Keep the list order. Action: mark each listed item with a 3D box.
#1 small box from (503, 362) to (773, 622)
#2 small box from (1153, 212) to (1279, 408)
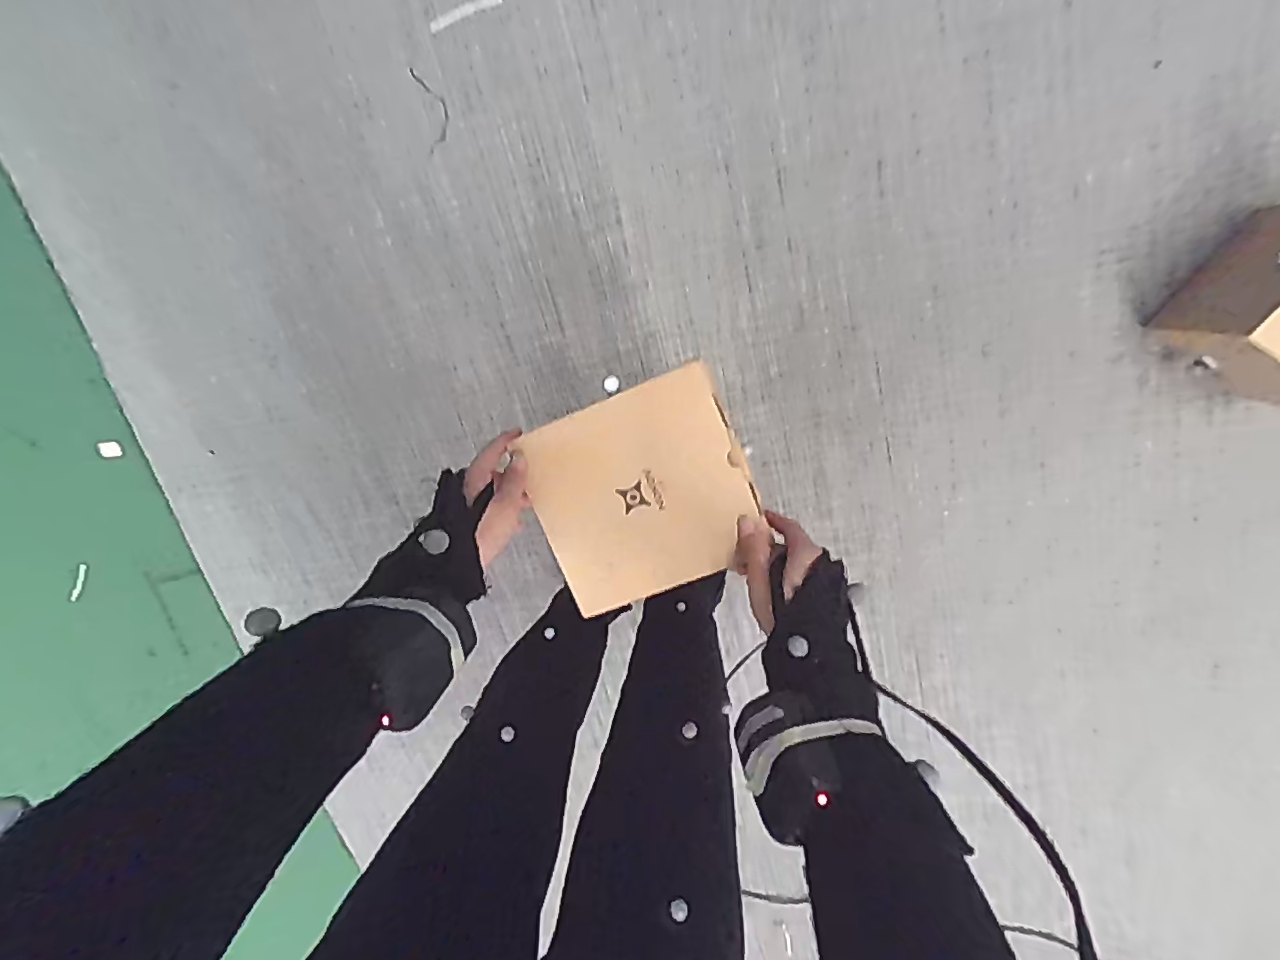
[{"bbox_3d":[0.008,0.003,0.505,0.179,0.176,0.168,-22,97,10],"label":"small box"},{"bbox_3d":[0.755,-0.190,0.603,0.168,0.176,0.179,34,111,0],"label":"small box"}]
